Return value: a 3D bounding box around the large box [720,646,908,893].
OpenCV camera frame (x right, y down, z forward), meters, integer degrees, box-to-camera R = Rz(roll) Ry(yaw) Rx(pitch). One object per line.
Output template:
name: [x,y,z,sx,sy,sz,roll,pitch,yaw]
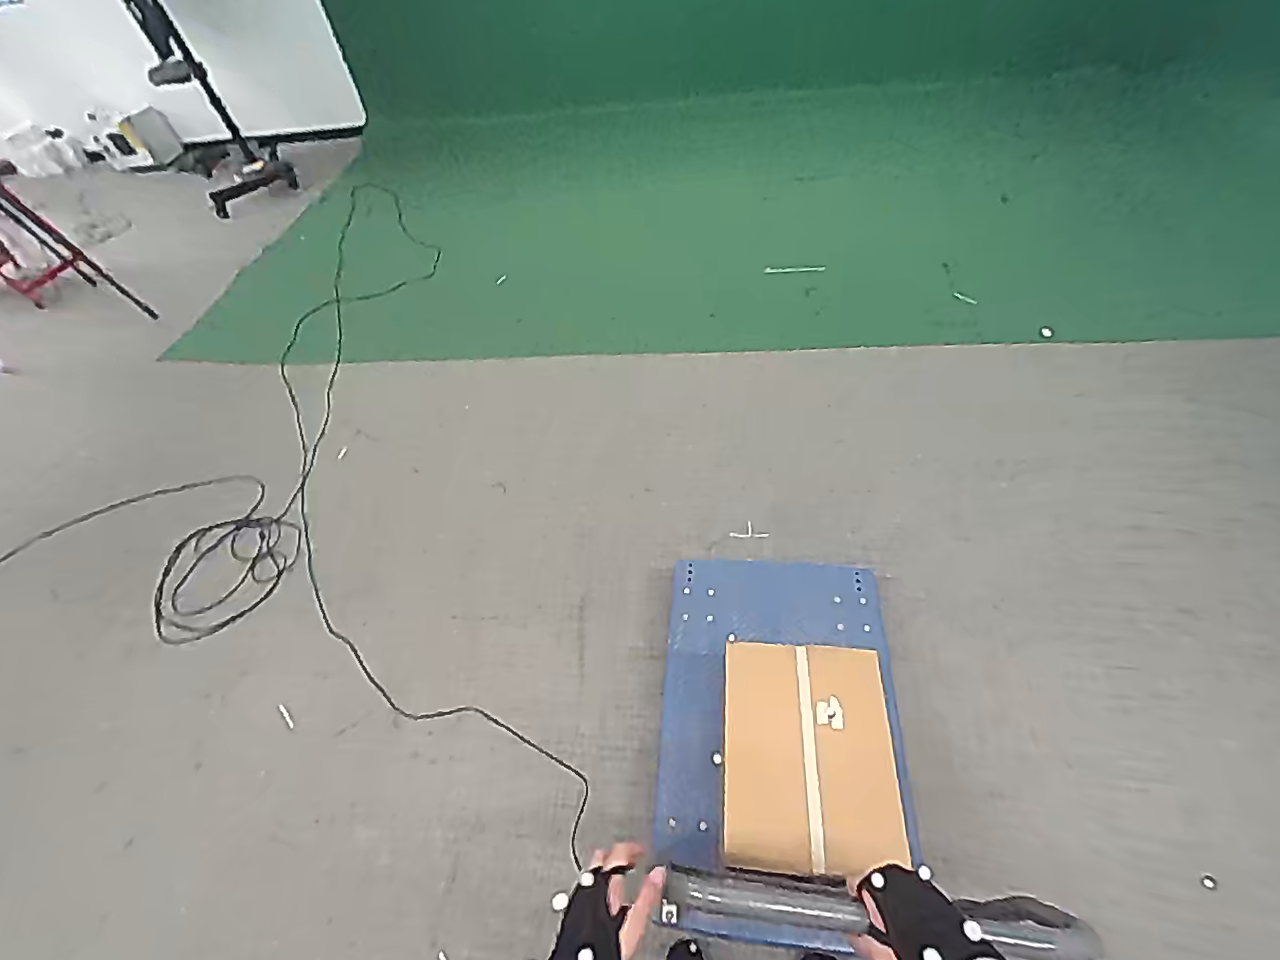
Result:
large box: [0.330,0.614,1.154,0.320,0.320,0.408,2,51,8]
